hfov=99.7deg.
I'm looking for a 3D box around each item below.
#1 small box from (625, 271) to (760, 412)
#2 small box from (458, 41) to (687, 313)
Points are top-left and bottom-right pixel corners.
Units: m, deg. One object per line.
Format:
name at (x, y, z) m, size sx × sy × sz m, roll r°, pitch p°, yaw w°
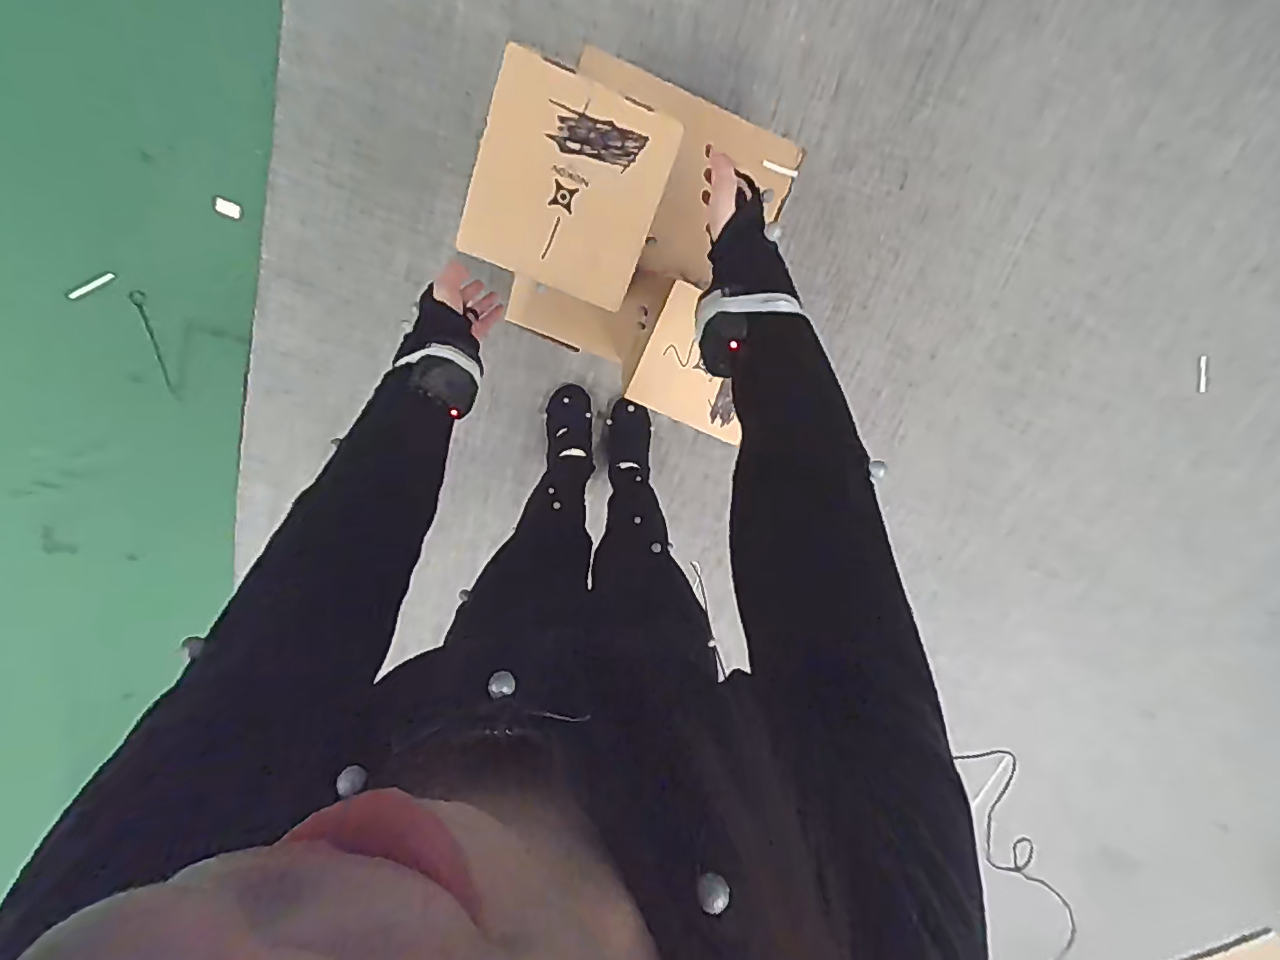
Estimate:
small box at (0.077, -0.241, 0.935) m, size 0.168 × 0.176 × 0.179 m, roll 21°, pitch 106°, yaw -10°
small box at (-0.068, -0.293, 0.566) m, size 0.168 × 0.176 × 0.179 m, roll 20°, pitch 108°, yaw -9°
